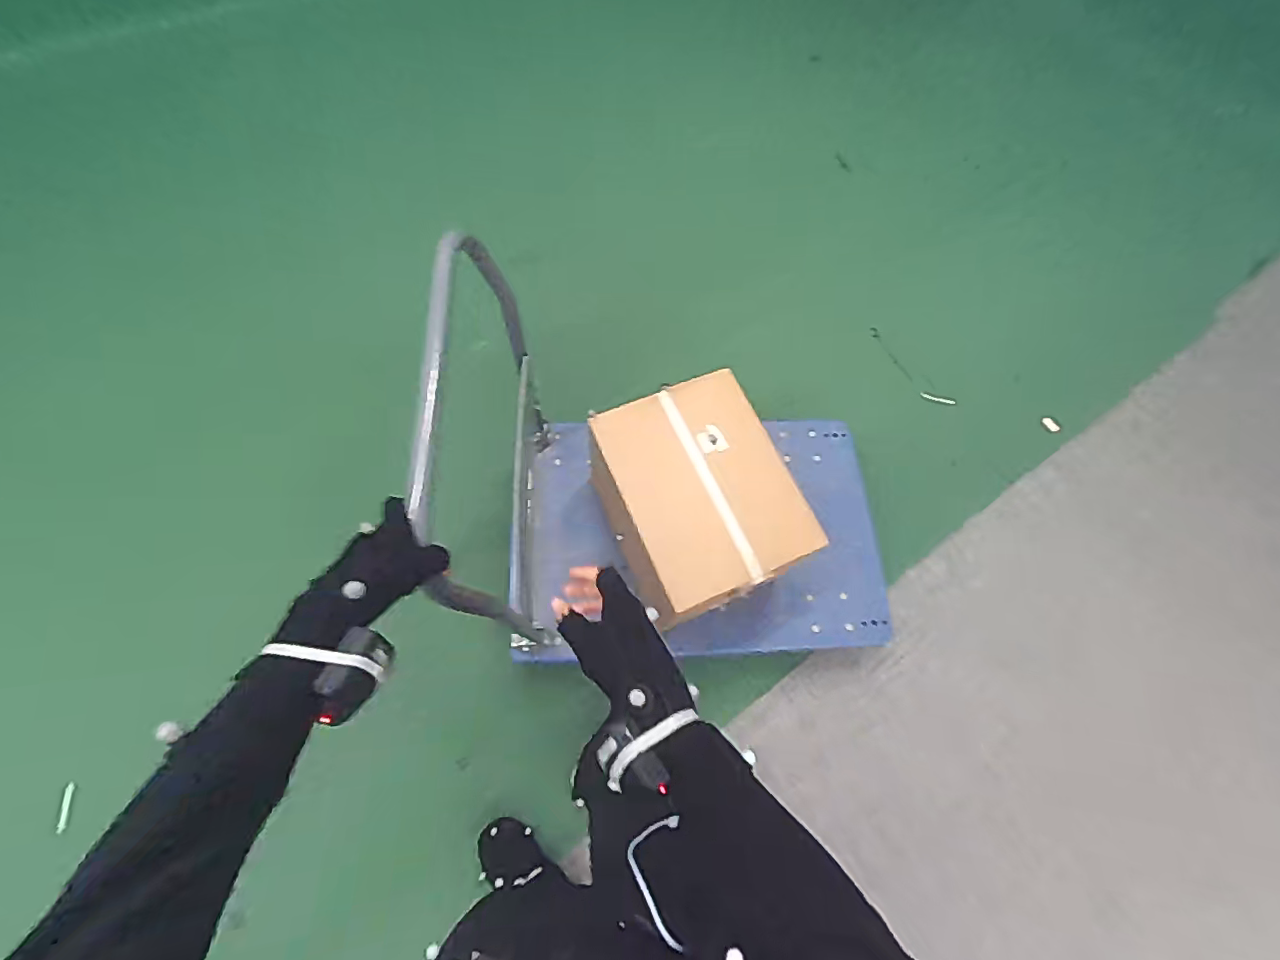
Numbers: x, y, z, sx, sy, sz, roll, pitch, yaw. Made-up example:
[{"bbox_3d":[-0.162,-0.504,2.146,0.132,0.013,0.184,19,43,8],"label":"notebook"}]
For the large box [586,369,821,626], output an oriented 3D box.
[{"bbox_3d":[0.106,0.050,1.149,0.320,0.320,0.408,-20,71,-12],"label":"large box"}]
